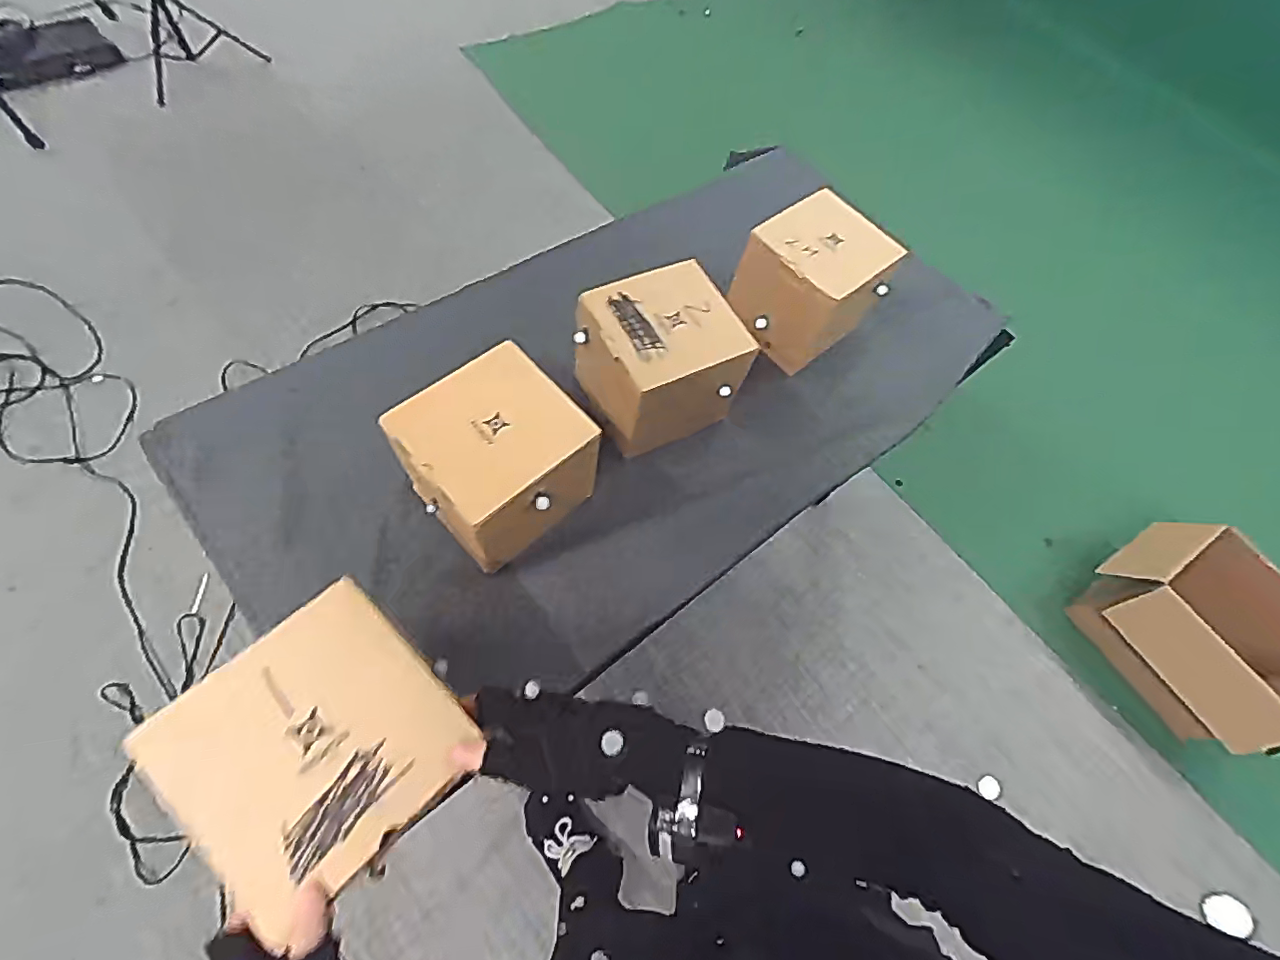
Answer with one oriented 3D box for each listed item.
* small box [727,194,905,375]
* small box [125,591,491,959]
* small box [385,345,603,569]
[{"bbox_3d":[0.265,-0.303,0.853,0.179,0.176,0.168,-36,74,-22],"label":"small box"},{"bbox_3d":[-0.239,0.223,0.444,0.179,0.176,0.168,45,63,10],"label":"small box"},{"bbox_3d":[-0.168,-0.021,0.657,0.179,0.176,0.168,-40,76,-23],"label":"small box"}]
